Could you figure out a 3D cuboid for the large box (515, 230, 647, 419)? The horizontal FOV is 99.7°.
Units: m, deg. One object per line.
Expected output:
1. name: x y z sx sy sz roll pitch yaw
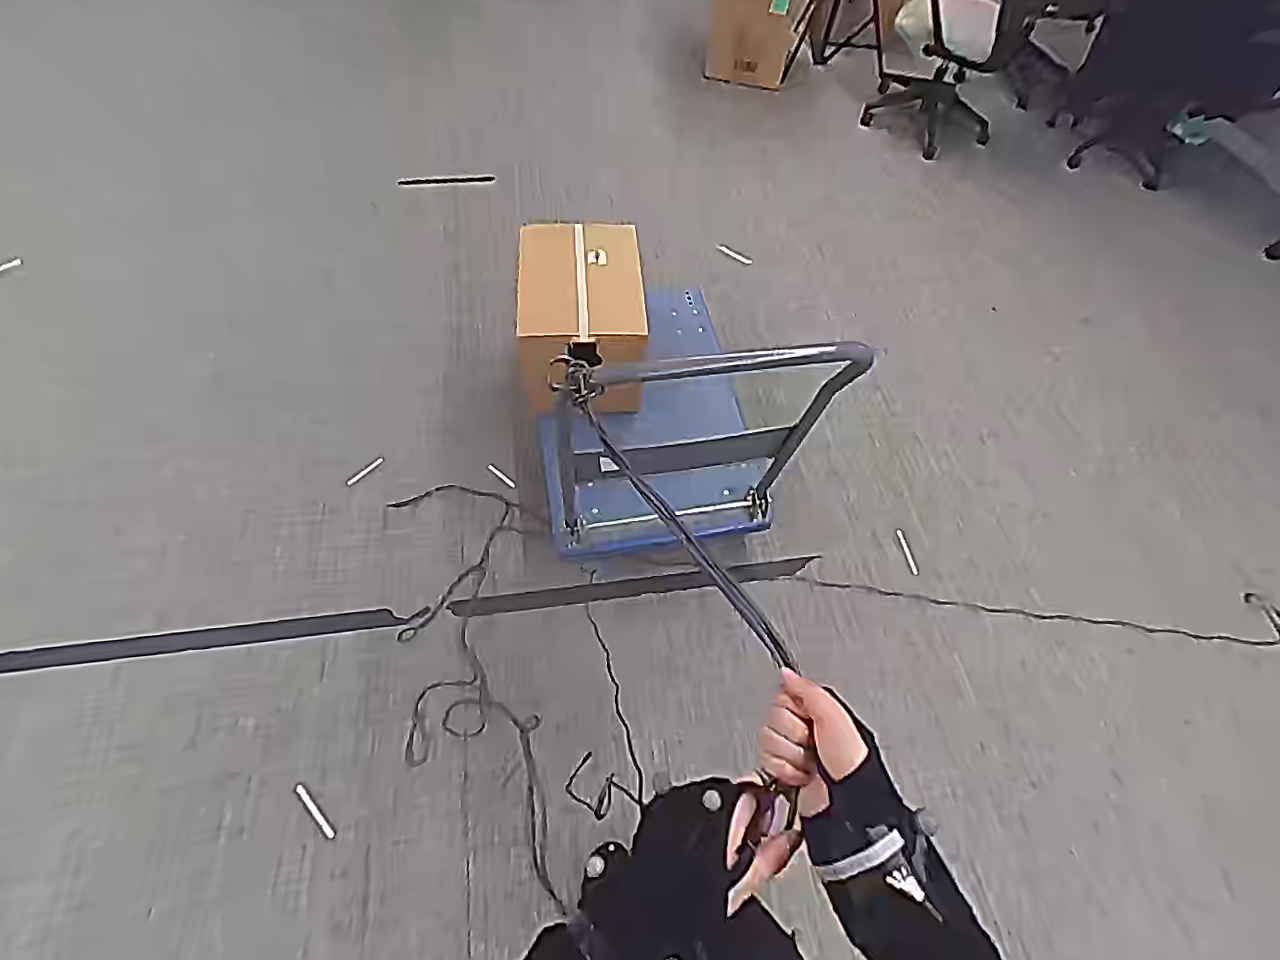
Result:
1. large box: -0.164 -0.420 1.486 0.320 0.320 0.408 -2 61 -7
